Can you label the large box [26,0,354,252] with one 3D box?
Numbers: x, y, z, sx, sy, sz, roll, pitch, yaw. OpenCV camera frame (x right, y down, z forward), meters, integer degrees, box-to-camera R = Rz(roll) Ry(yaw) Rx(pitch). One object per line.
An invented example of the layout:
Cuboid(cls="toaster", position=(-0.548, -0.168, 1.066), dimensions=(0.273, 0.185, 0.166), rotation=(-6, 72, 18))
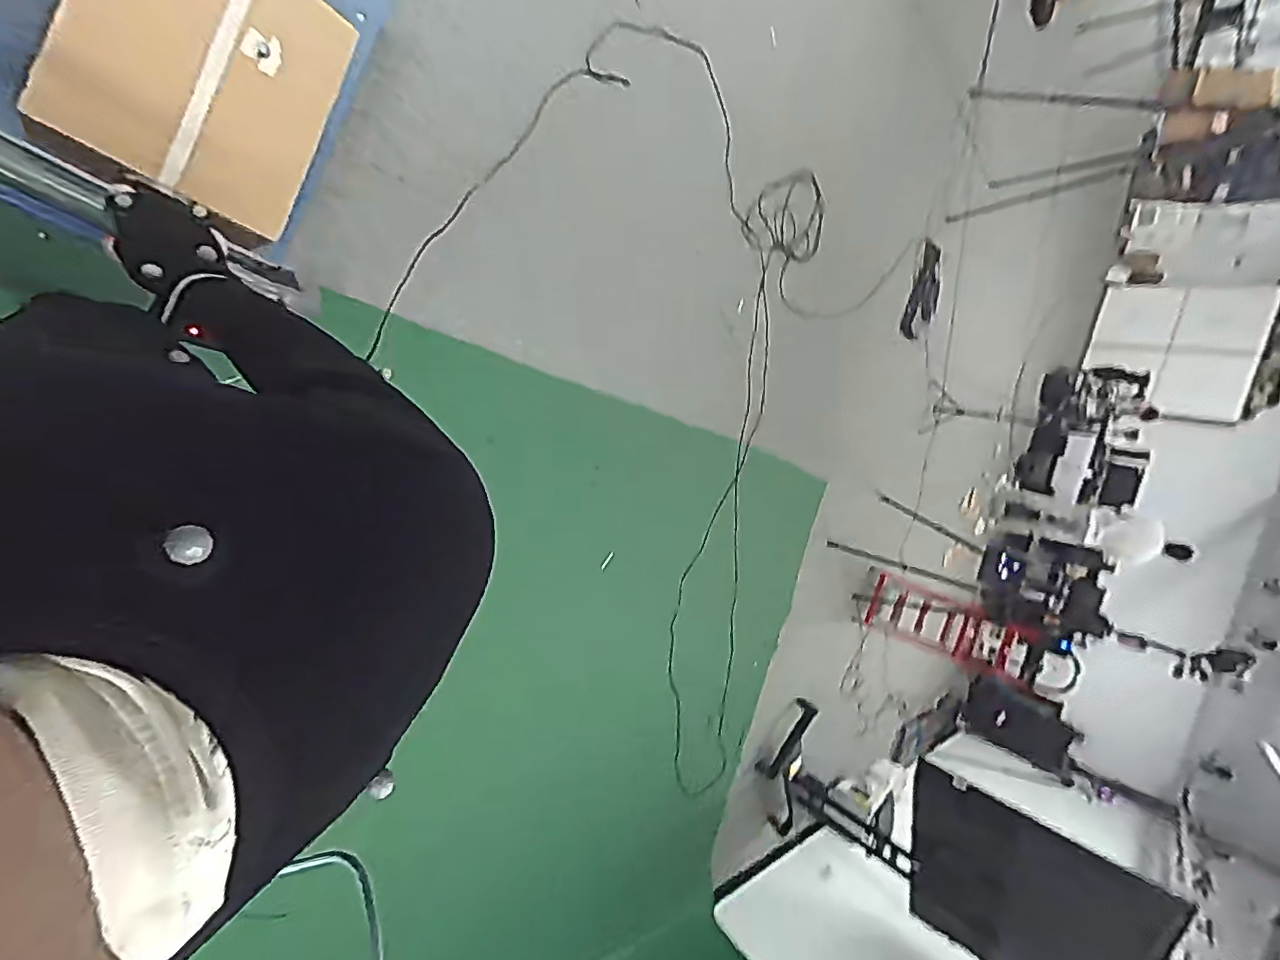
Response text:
Cuboid(cls="large box", position=(-0.766, -0.672, 0.942), dimensions=(0.320, 0.320, 0.408), rotation=(22, 87, -47))
